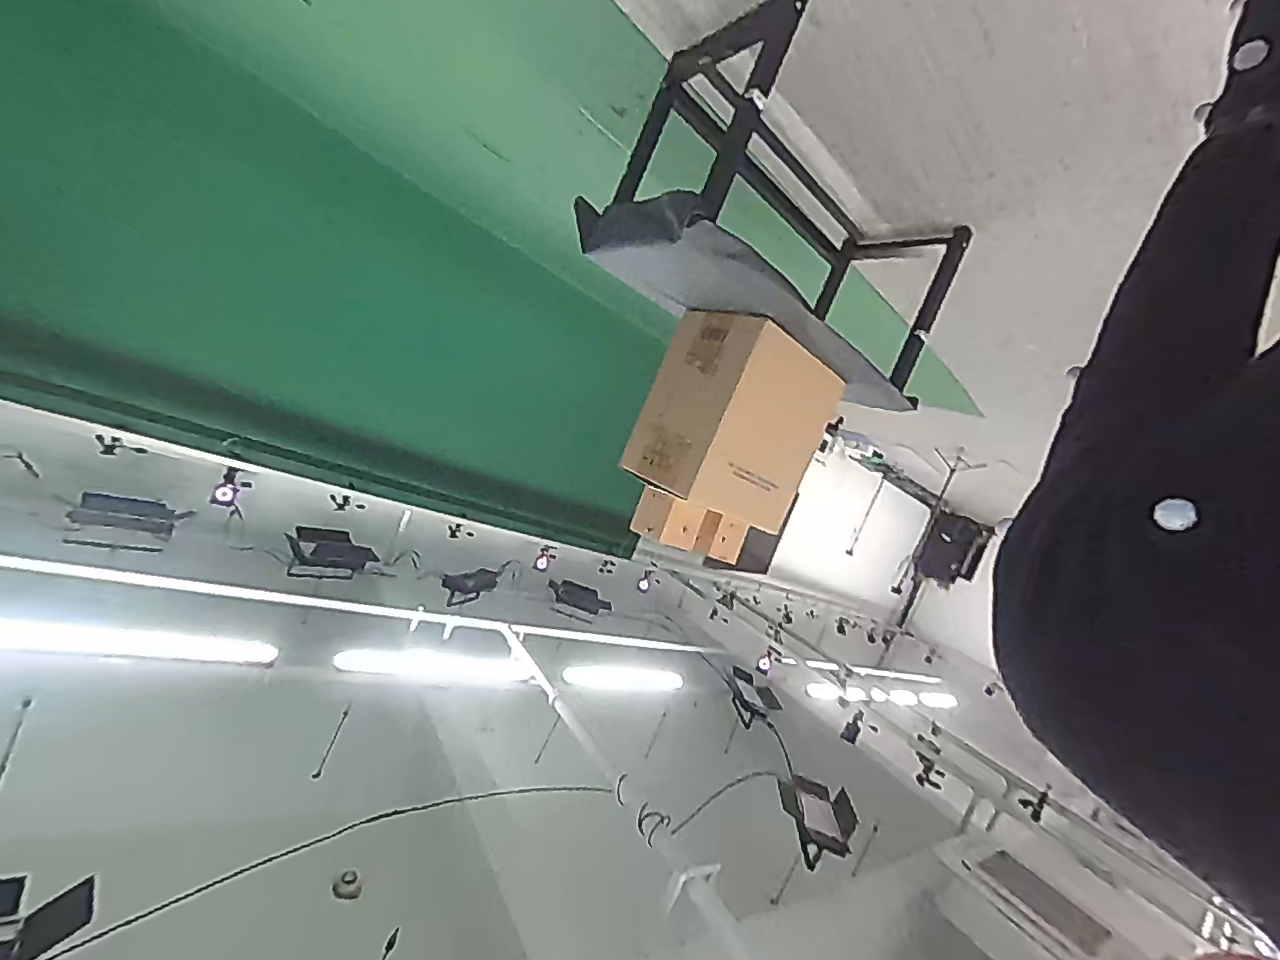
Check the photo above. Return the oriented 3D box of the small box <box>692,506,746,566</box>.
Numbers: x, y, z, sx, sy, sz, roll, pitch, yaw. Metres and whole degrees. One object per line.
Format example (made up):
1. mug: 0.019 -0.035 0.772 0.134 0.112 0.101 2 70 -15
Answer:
1. small box: 0.290 0.214 2.099 0.168 0.176 0.179 23 180 -39

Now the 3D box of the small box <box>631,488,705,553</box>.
1. small box: 0.106 0.143 1.935 0.179 0.176 0.168 20 180 -41
